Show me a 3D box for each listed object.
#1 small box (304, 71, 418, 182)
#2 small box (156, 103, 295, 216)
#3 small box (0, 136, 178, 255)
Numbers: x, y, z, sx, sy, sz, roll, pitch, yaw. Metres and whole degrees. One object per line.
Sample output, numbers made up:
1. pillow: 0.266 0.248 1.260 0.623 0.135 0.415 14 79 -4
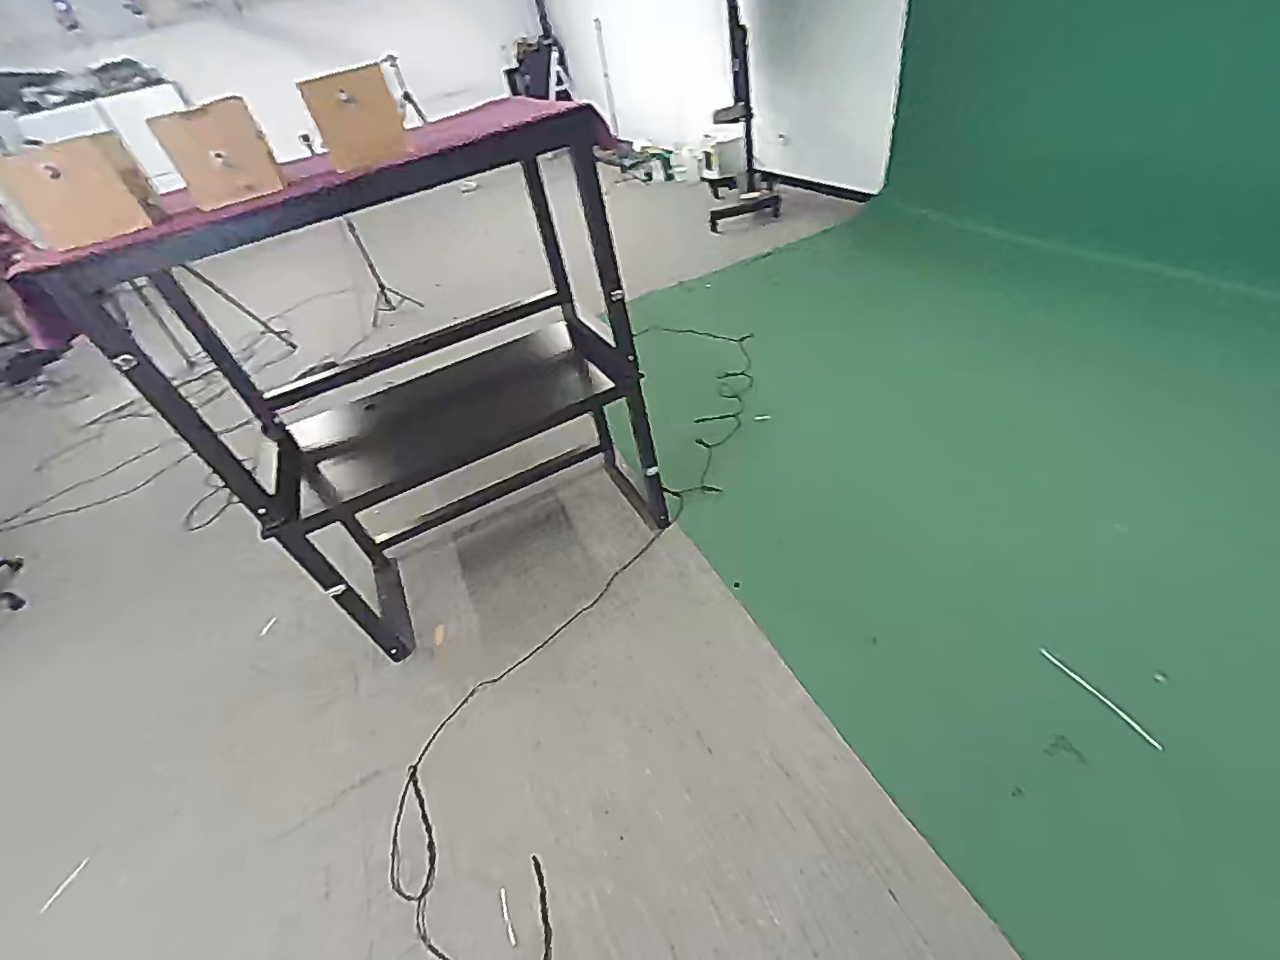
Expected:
1. small box: -0.618 -0.796 1.217 0.179 0.176 0.168 -25 41 -11
2. small box: -0.868 -0.682 1.154 0.168 0.176 0.179 -25 41 -13
3. small box: -1.100 -0.575 1.095 0.179 0.176 0.168 -25 42 -15
